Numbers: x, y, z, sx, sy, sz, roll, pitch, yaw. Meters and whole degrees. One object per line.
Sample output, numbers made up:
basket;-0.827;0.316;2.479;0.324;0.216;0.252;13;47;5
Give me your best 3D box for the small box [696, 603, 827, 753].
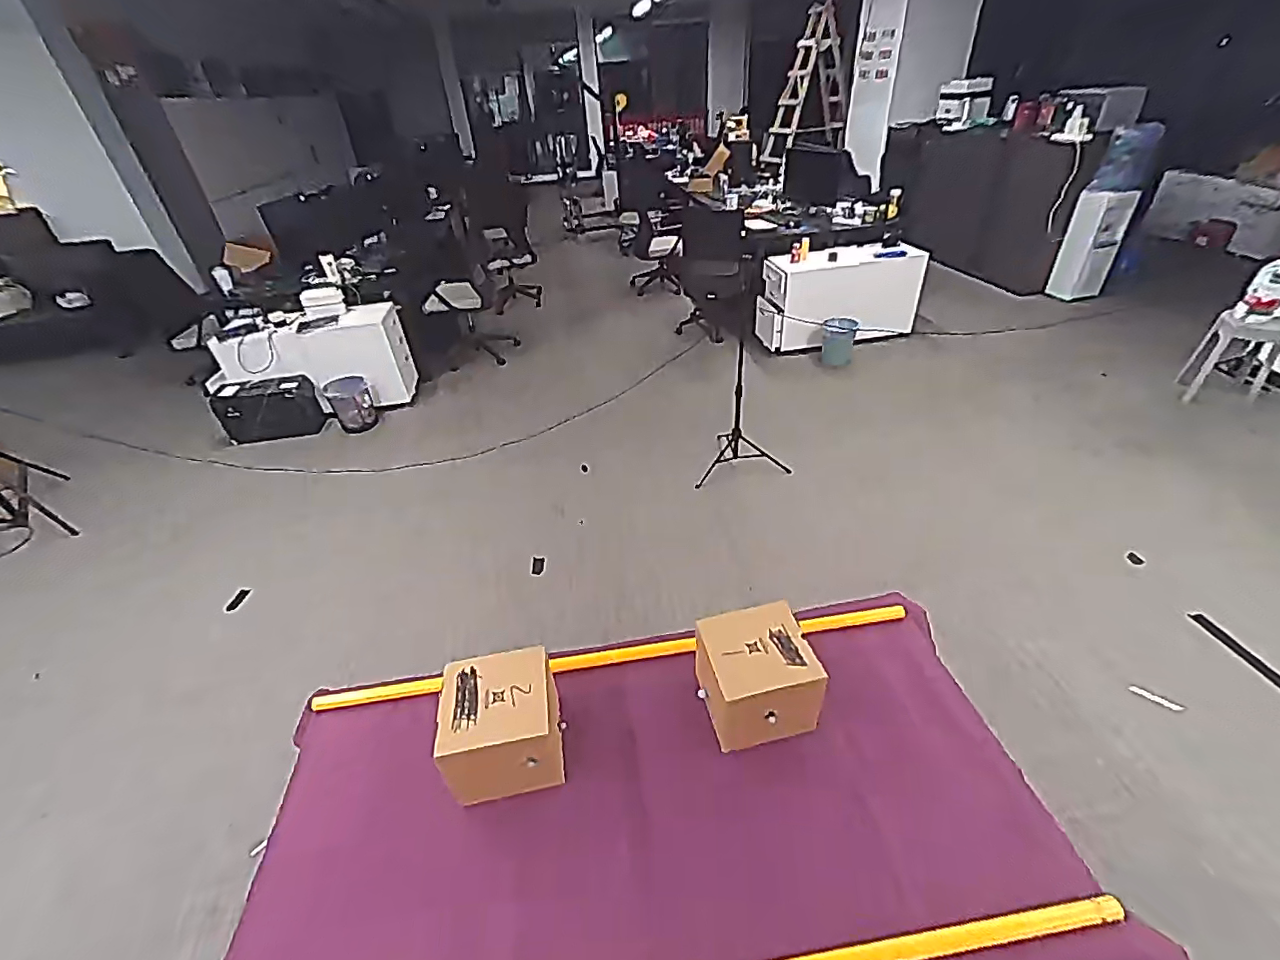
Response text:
small box;0.204;0.349;0.957;0.179;0.176;0.168;-11;38;-7
